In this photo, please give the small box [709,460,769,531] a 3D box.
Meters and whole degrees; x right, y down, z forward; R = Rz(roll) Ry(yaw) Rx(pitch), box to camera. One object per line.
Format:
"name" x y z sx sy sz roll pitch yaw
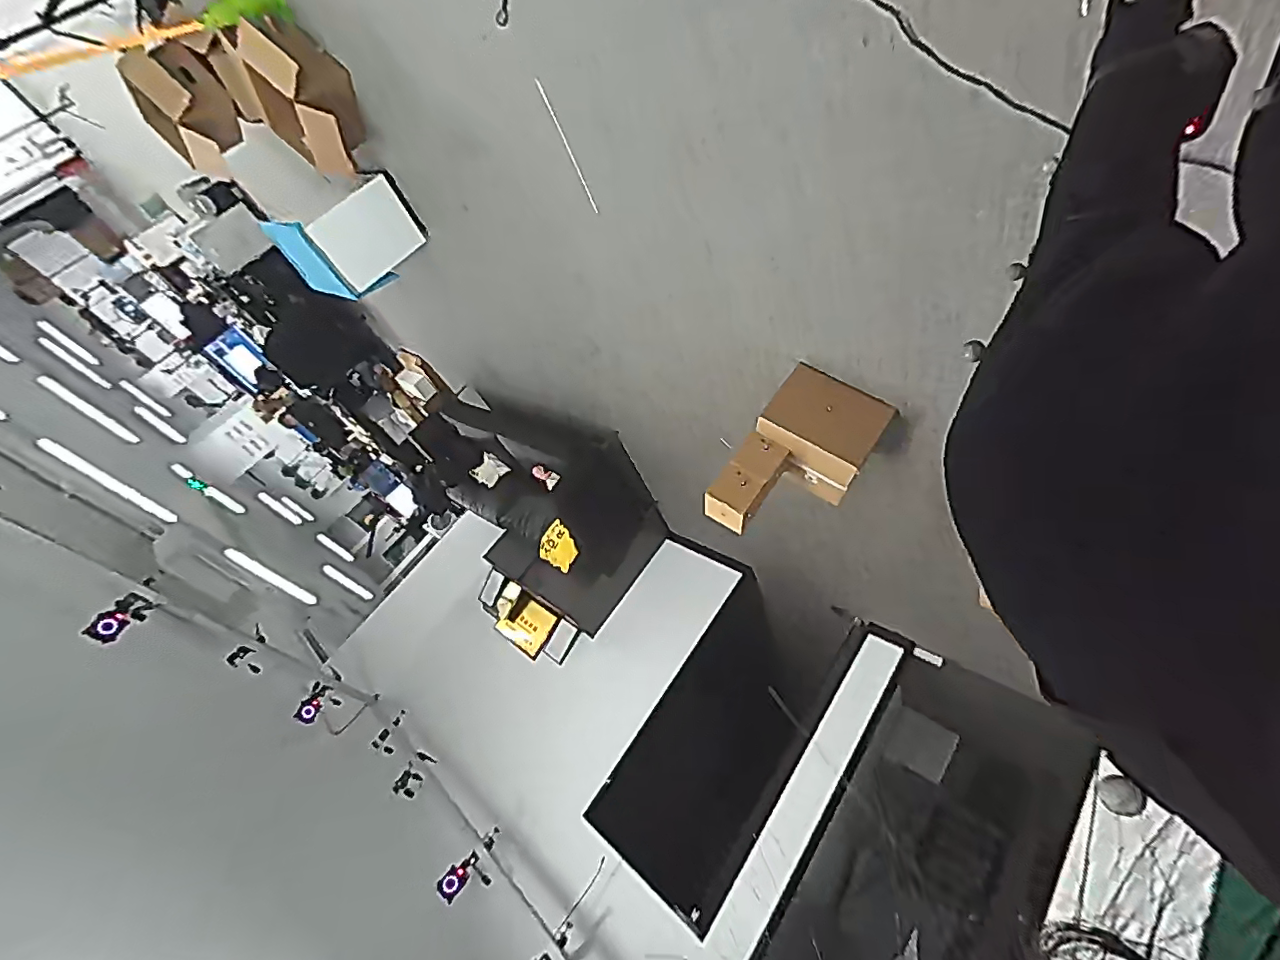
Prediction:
"small box" 0.375 0.056 2.047 0.168 0.176 0.179 30 158 22
